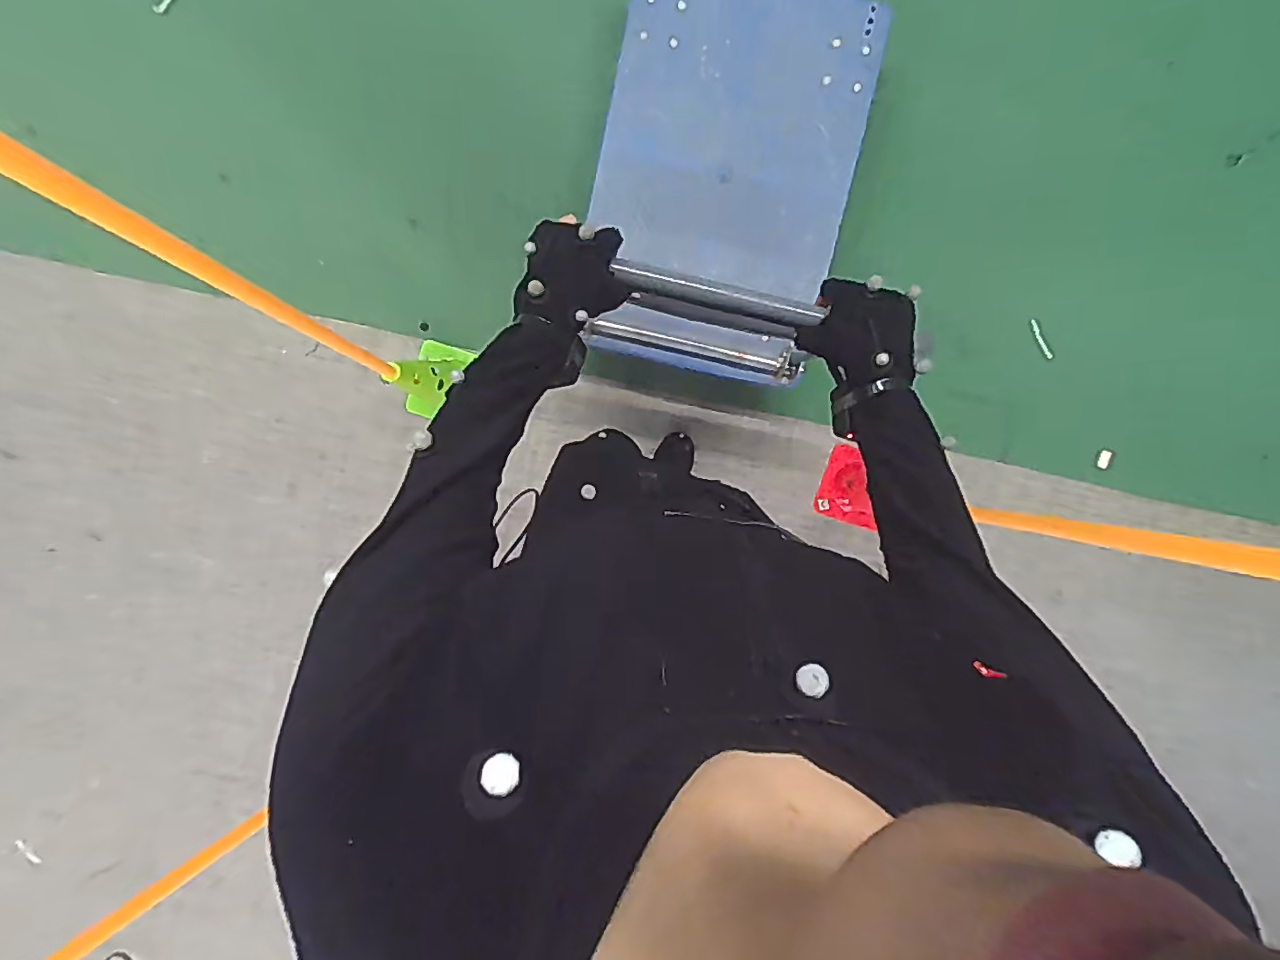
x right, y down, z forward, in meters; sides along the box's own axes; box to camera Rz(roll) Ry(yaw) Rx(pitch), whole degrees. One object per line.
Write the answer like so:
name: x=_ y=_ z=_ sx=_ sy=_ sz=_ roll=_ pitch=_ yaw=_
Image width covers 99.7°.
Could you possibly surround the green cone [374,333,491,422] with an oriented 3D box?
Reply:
green cone: x=-0.511 y=-0.258 z=1.268 sx=0.202 sy=0.368 sz=0.200 roll=17 pitch=95 yaw=-1
